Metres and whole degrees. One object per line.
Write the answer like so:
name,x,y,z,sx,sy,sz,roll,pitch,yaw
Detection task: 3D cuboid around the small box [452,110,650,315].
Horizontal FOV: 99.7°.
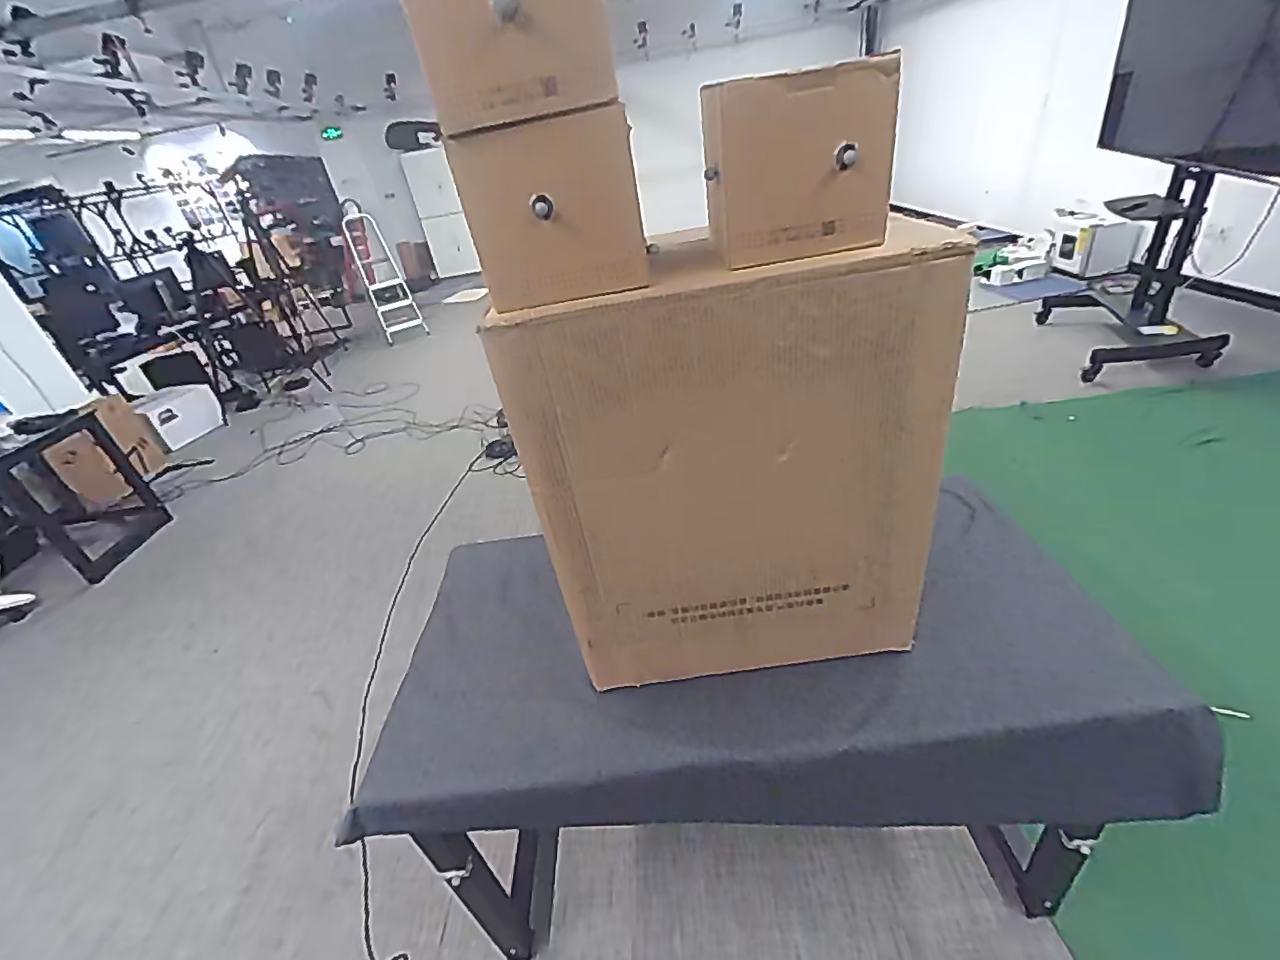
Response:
small box,-0.085,-0.301,0.607,0.179,0.176,0.168,-9,35,0

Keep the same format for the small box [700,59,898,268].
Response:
small box,0.163,-0.343,0.603,0.168,0.176,0.179,-7,33,3

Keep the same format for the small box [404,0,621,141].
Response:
small box,-0.115,-0.434,0.516,0.168,0.176,0.179,-10,35,1
